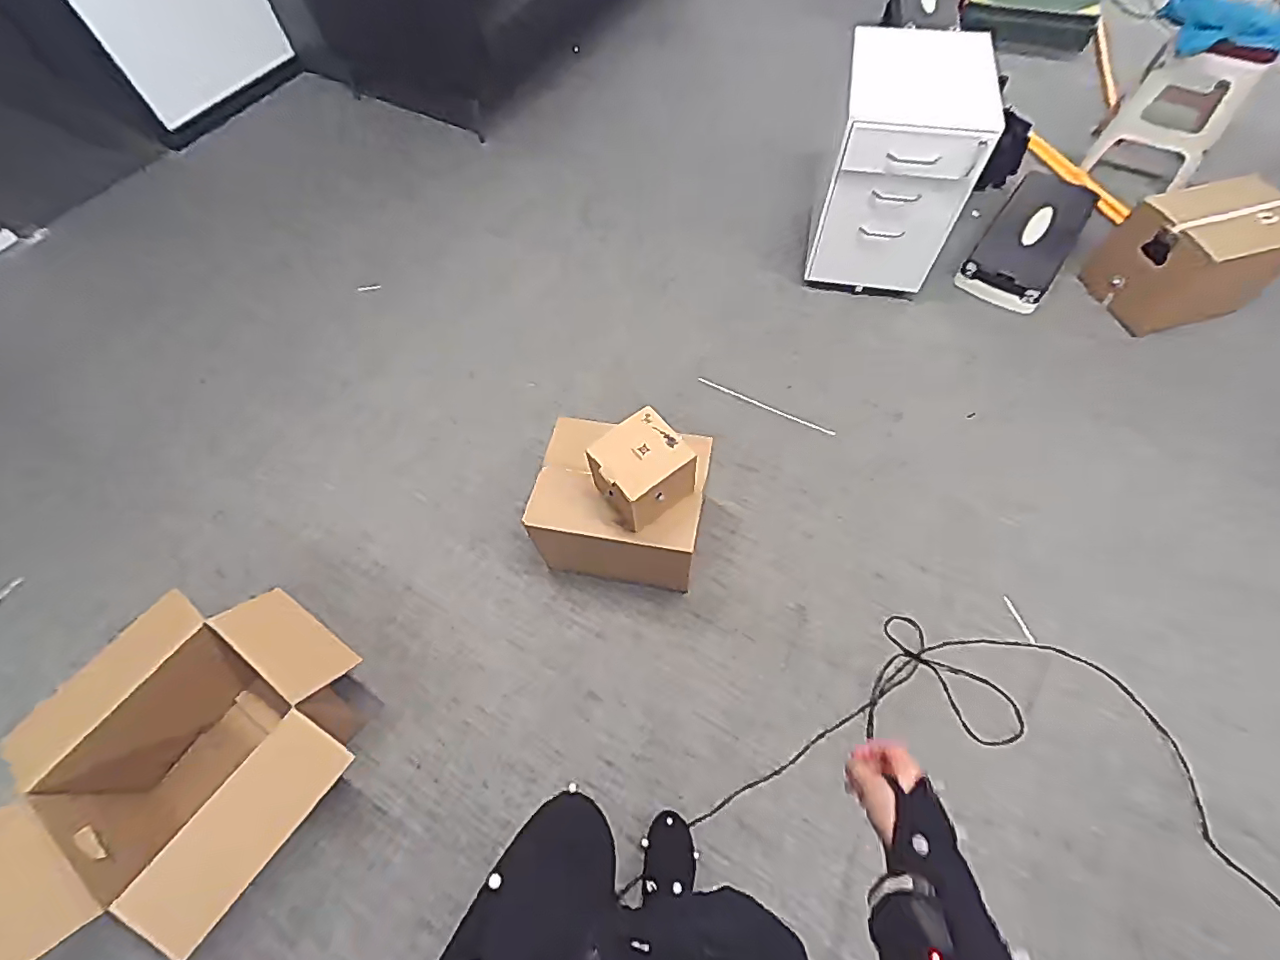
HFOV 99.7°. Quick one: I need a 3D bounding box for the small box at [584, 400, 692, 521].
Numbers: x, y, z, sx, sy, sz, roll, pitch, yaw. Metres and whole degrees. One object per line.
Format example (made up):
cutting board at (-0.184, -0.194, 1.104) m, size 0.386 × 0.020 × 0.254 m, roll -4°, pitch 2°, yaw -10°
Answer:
small box at (0.003, -0.037, 1.208) m, size 0.179 × 0.176 × 0.168 m, roll -37°, pitch 67°, yaw -13°
